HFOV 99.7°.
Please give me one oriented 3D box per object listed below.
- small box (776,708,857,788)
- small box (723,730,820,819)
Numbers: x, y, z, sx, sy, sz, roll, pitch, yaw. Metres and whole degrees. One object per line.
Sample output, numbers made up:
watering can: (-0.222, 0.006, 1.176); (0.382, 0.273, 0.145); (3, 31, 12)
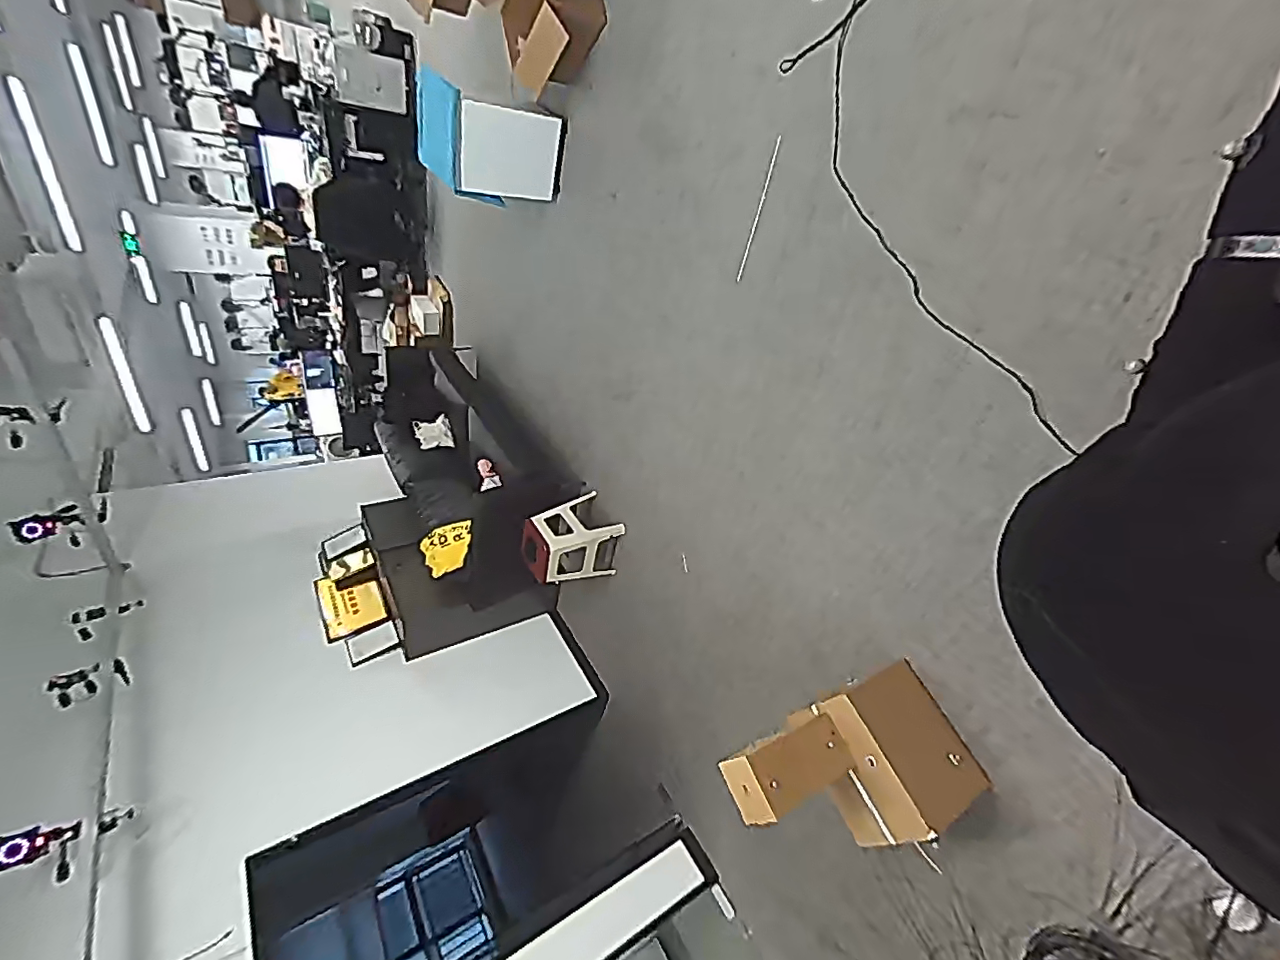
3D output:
small box: (0.517, 0.820, 1.642); (0.168, 0.176, 0.179); (62, 146, 23)
small box: (0.378, 0.844, 1.561); (0.179, 0.176, 0.168); (62, 146, 22)
